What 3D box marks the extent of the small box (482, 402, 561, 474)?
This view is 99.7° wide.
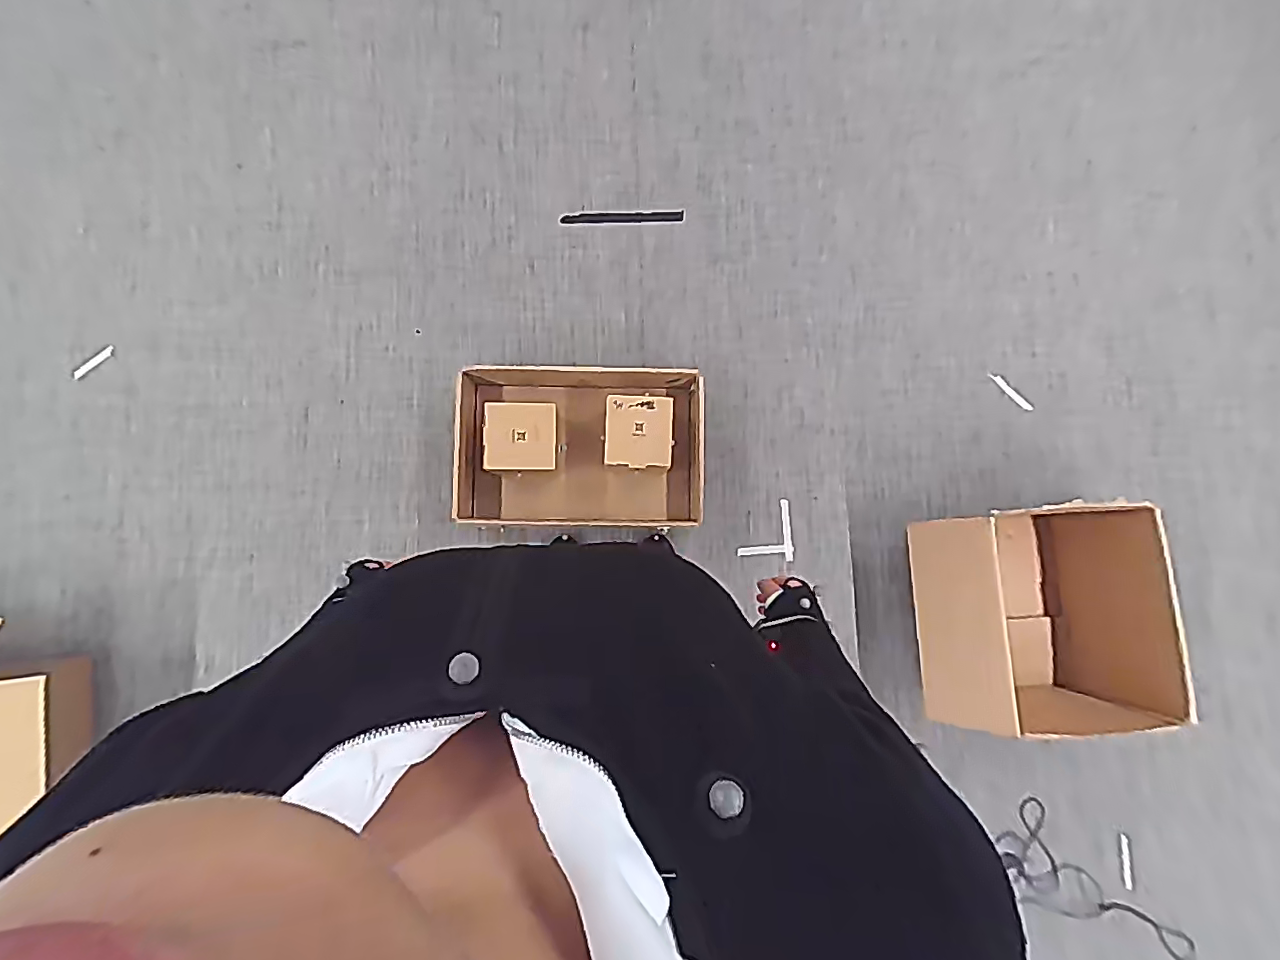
[{"bbox_3d":[-0.300,-0.103,1.391,0.179,0.176,0.168,0,87,-4],"label":"small box"}]

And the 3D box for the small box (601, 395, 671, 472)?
[{"bbox_3d":[-0.010,-0.115,1.404,0.168,0.176,0.179,3,86,-2],"label":"small box"}]
